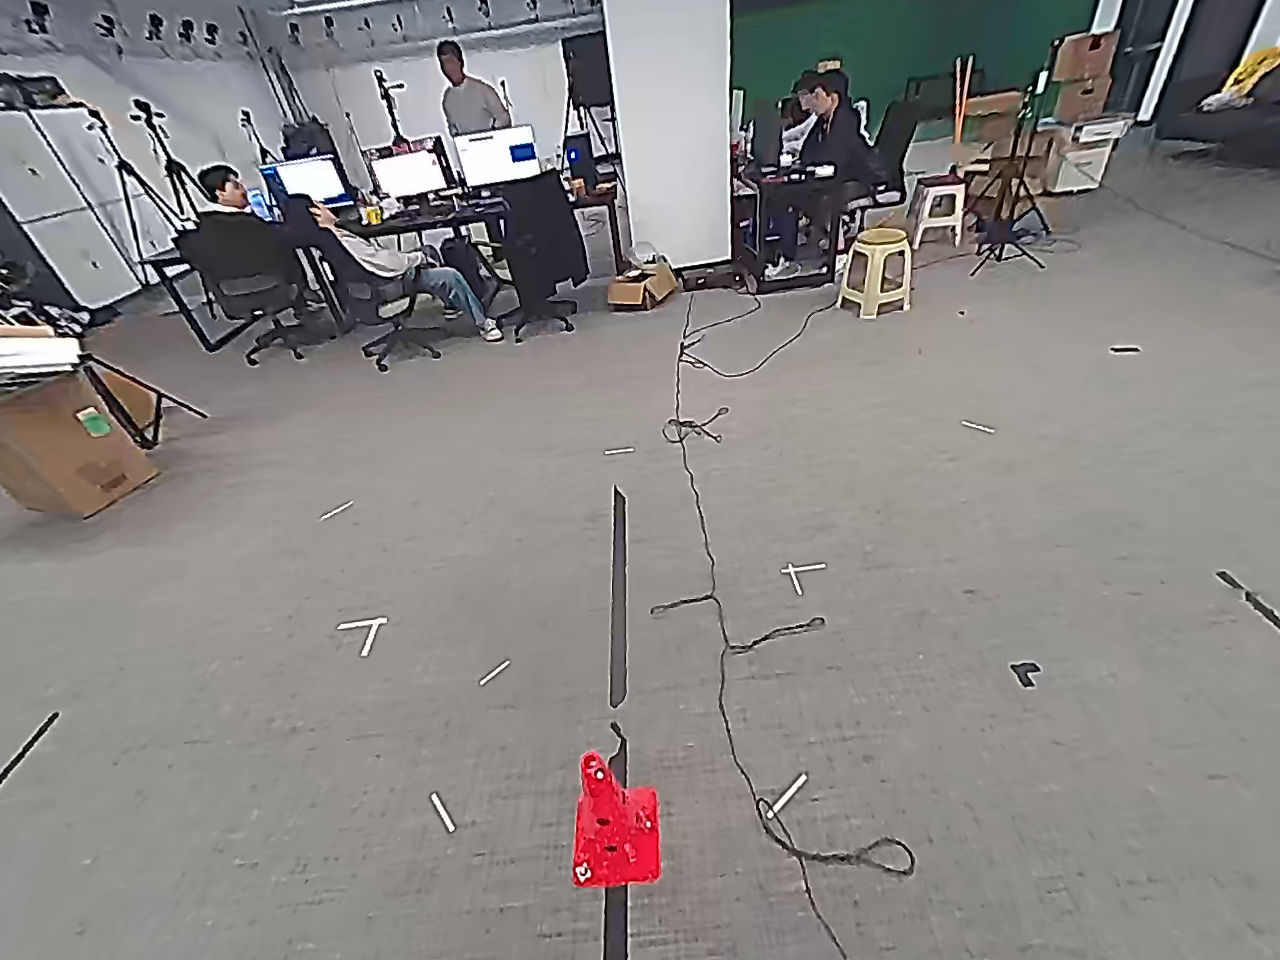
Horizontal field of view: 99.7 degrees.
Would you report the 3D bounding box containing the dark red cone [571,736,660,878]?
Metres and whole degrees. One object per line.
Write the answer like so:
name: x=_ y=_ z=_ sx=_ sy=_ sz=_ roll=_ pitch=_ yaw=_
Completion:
dark red cone: x=-0.075 y=0.674 z=1.159 sx=0.201 sy=0.394 sz=0.202 roll=-6 pitch=36 yaw=1
